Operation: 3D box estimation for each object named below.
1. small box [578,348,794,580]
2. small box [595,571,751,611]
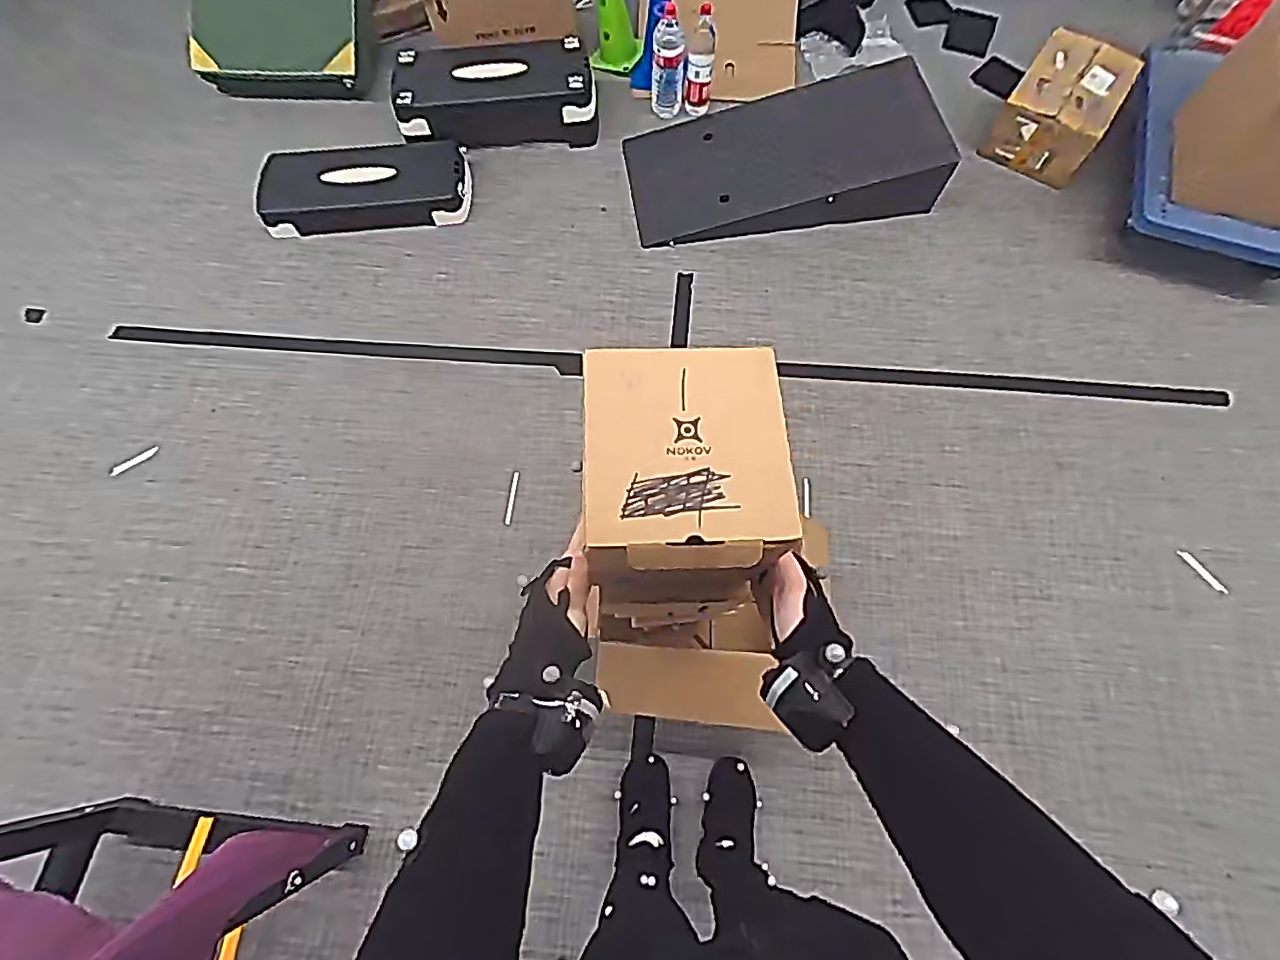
[{"bbox_3d":[0.031,-0.004,0.508,0.168,0.176,0.179,-1,69,-3],"label":"small box"},{"bbox_3d":[0.032,0.068,0.661,0.168,0.176,0.179,0,73,-3],"label":"small box"}]
